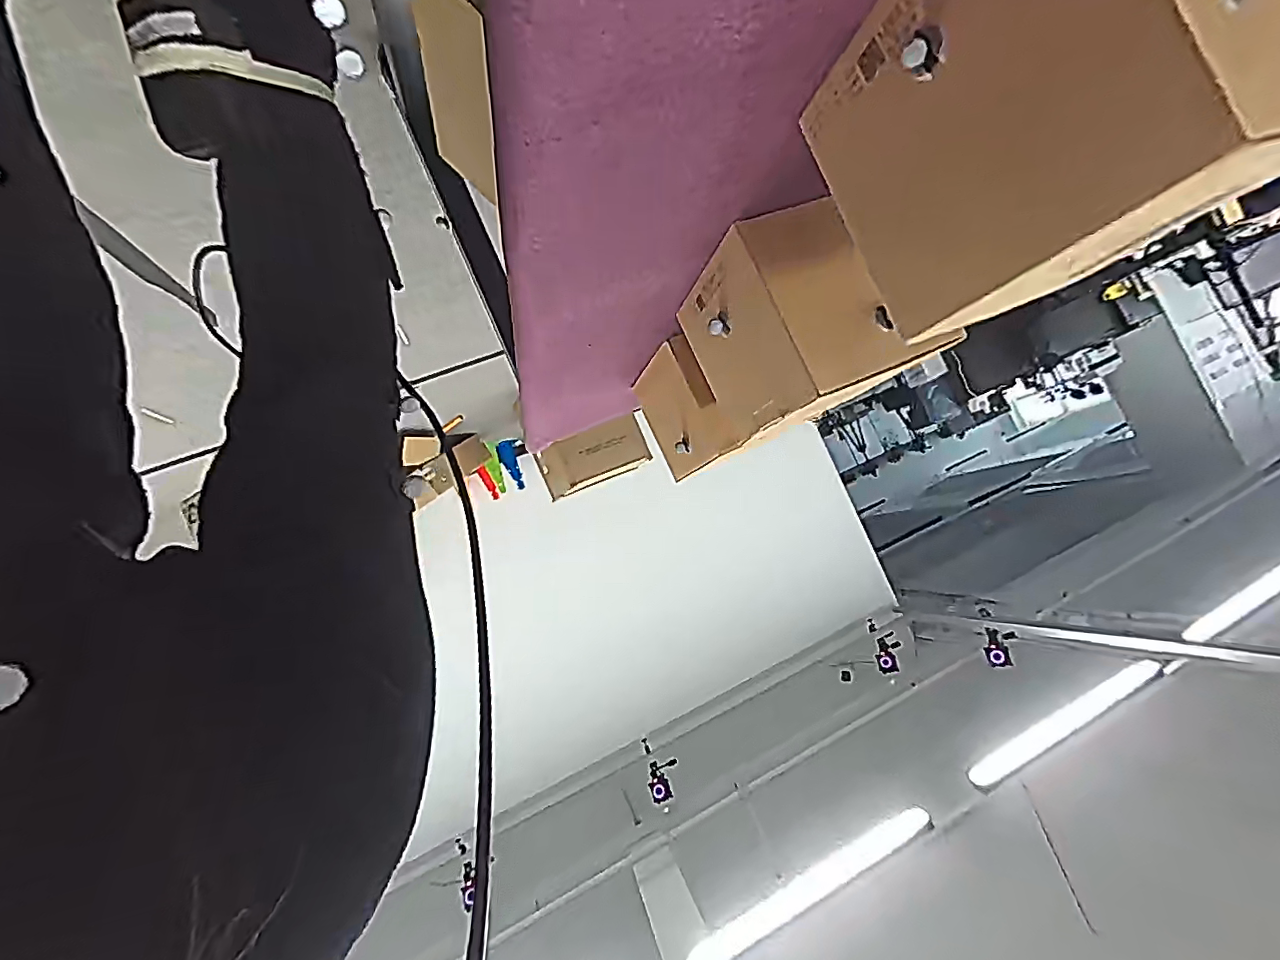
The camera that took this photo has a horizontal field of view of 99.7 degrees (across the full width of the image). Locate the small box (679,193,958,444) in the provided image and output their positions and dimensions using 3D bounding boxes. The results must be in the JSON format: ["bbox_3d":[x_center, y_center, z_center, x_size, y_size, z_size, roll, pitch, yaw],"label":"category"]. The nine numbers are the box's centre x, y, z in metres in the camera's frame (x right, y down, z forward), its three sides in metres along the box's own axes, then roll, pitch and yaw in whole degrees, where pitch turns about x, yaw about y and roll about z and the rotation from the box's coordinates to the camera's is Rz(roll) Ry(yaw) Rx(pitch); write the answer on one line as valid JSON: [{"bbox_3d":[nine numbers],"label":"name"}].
[{"bbox_3d":[0.168,-0.161,0.554,0.179,0.176,0.168,-23,176,-17],"label":"small box"}]

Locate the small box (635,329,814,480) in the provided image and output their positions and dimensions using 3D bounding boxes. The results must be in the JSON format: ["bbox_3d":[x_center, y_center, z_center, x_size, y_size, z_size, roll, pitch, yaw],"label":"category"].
[{"bbox_3d":[0.110,-0.120,0.784,0.168,0.176,0.179,-24,176,-20],"label":"small box"}]
